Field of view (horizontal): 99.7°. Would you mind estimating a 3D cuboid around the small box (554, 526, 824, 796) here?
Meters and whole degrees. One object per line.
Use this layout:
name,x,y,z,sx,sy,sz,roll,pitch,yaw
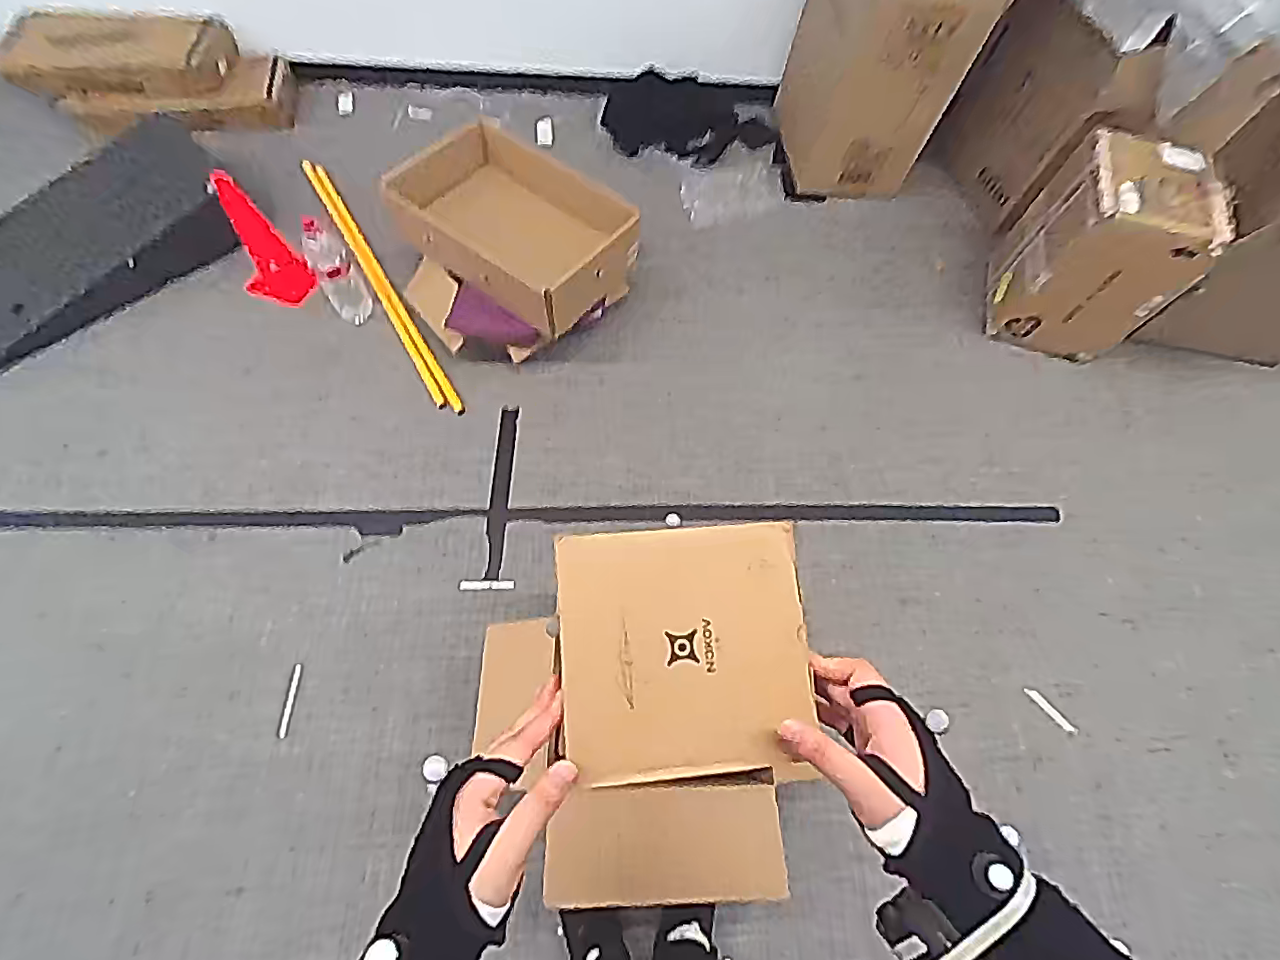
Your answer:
small box,0.025,0.134,0.448,0.179,0.176,0.168,-5,78,-6
